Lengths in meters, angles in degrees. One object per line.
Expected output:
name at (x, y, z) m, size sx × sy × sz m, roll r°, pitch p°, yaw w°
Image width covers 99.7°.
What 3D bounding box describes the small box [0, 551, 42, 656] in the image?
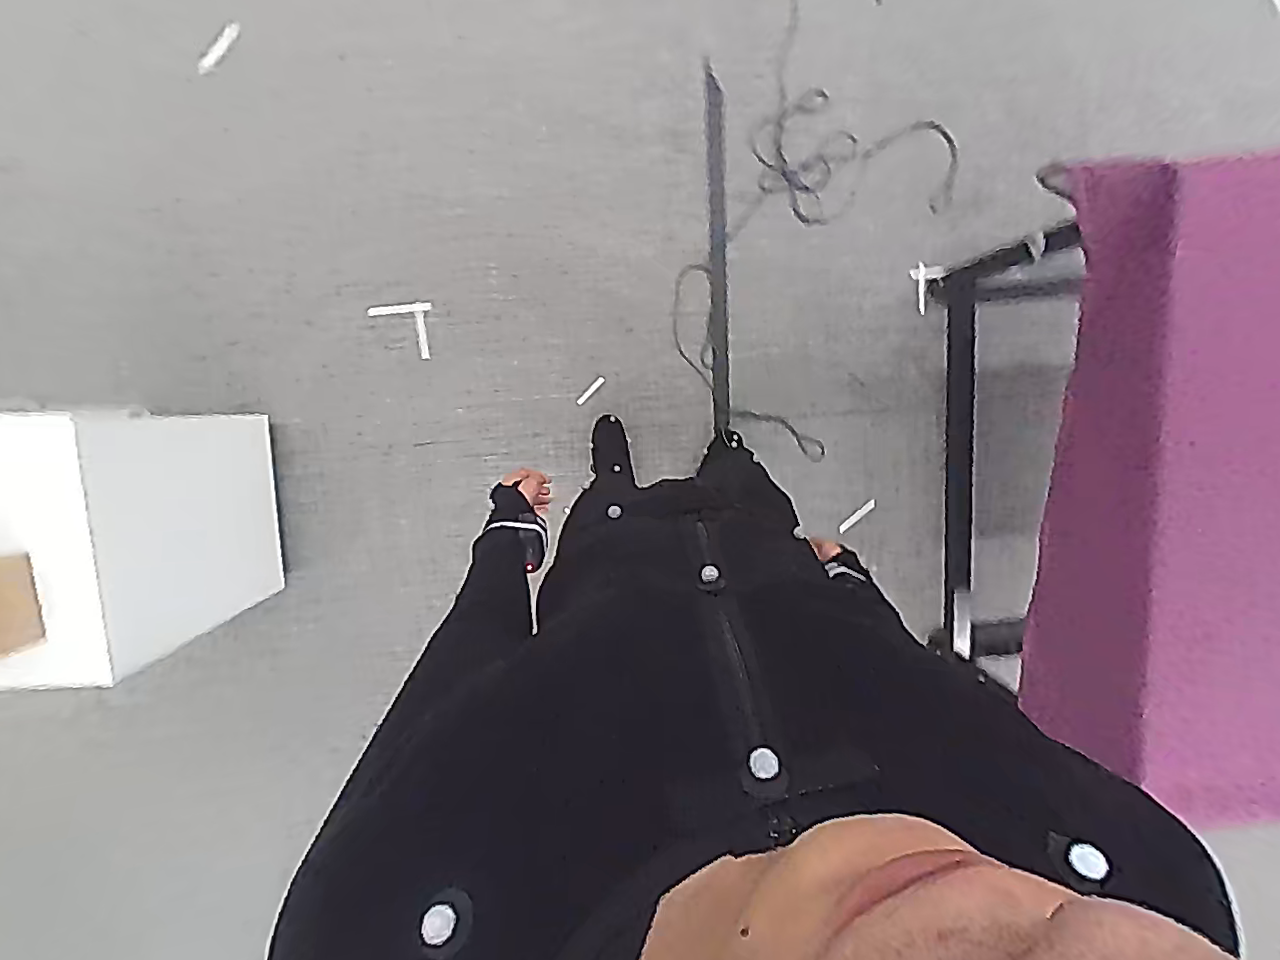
small box at (-1.200, 0.232, 0.929) m, size 0.168 × 0.176 × 0.179 m, roll -3°, pitch 97°, yaw -3°
